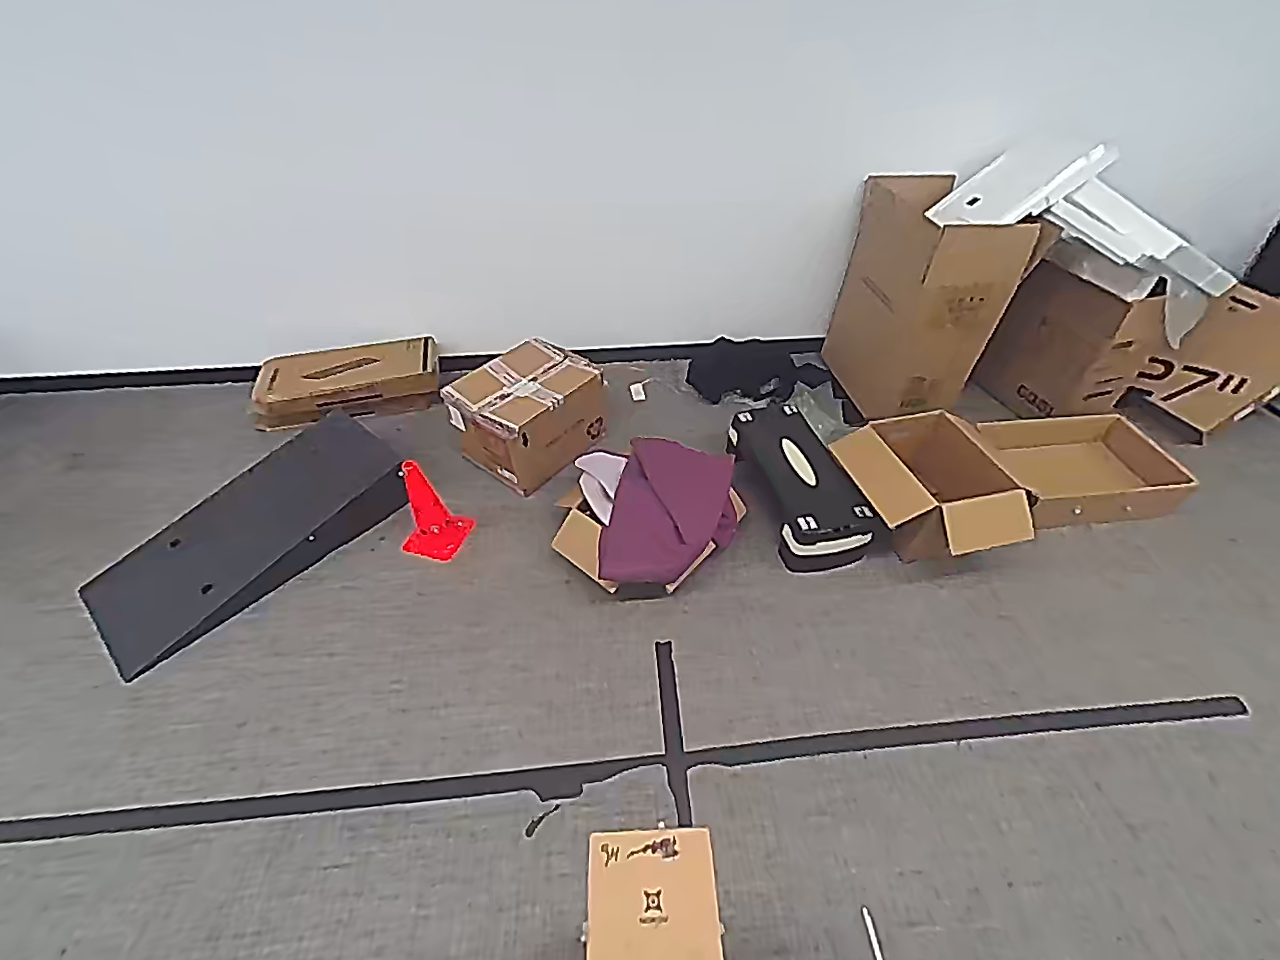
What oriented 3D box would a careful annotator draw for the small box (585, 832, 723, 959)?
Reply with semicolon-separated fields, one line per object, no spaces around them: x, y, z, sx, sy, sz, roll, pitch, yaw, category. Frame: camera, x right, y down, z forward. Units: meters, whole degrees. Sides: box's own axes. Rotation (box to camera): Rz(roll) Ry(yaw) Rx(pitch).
0.018;0.593;0.723;0.168;0.176;0.179;-2;45;-1;small box
